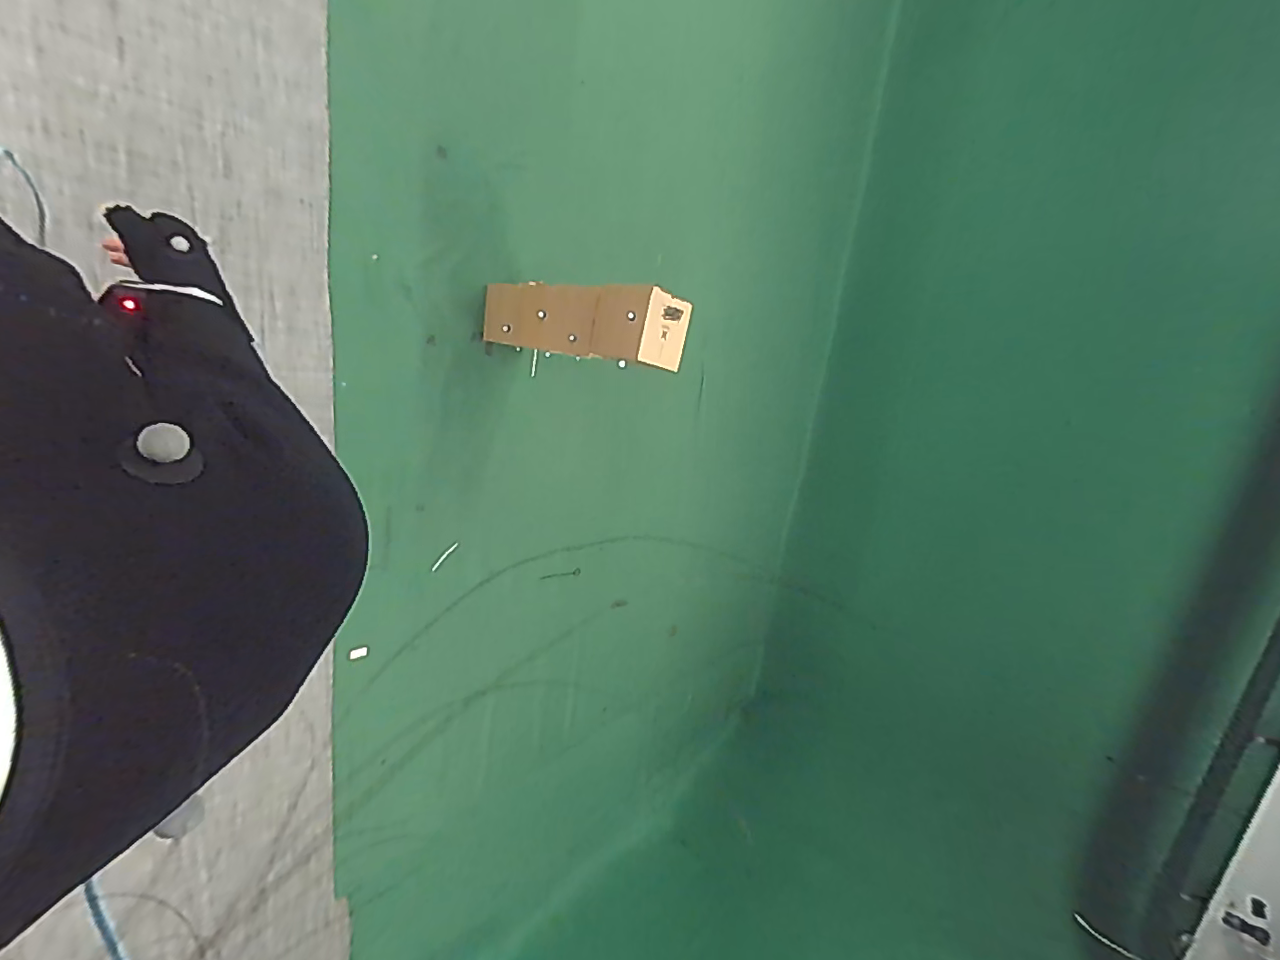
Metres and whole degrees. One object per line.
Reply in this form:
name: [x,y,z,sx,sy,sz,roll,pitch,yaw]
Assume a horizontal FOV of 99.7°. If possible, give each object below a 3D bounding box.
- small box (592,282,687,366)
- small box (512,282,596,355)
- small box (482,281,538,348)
small box: [-0.004,-0.397,1.381,0.168,0.176,0.179,-4,106,-51]
small box: [-0.255,-0.471,1.581,0.168,0.176,0.179,-6,109,-50]
small box: [-0.373,-0.514,1.684,0.168,0.176,0.179,-7,111,-50]
